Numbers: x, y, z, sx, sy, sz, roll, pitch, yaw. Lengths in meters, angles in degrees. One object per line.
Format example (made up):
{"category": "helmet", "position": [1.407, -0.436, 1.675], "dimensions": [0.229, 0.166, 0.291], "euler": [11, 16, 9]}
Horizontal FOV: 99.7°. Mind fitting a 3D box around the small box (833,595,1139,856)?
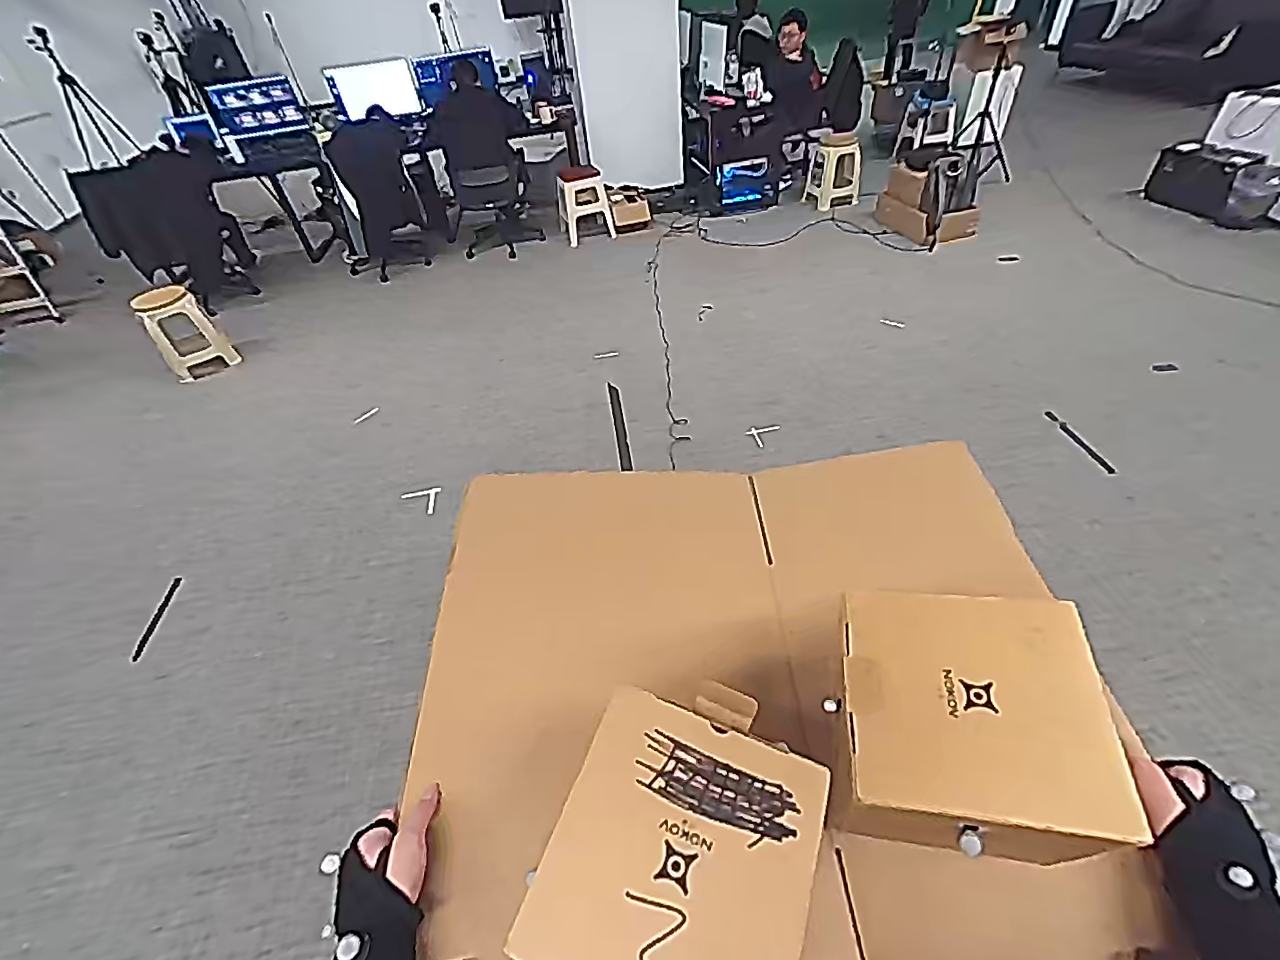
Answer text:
{"category": "small box", "position": [0.270, 0.218, 0.478], "dimensions": [0.179, 0.176, 0.168], "euler": [0, 52, 16]}
